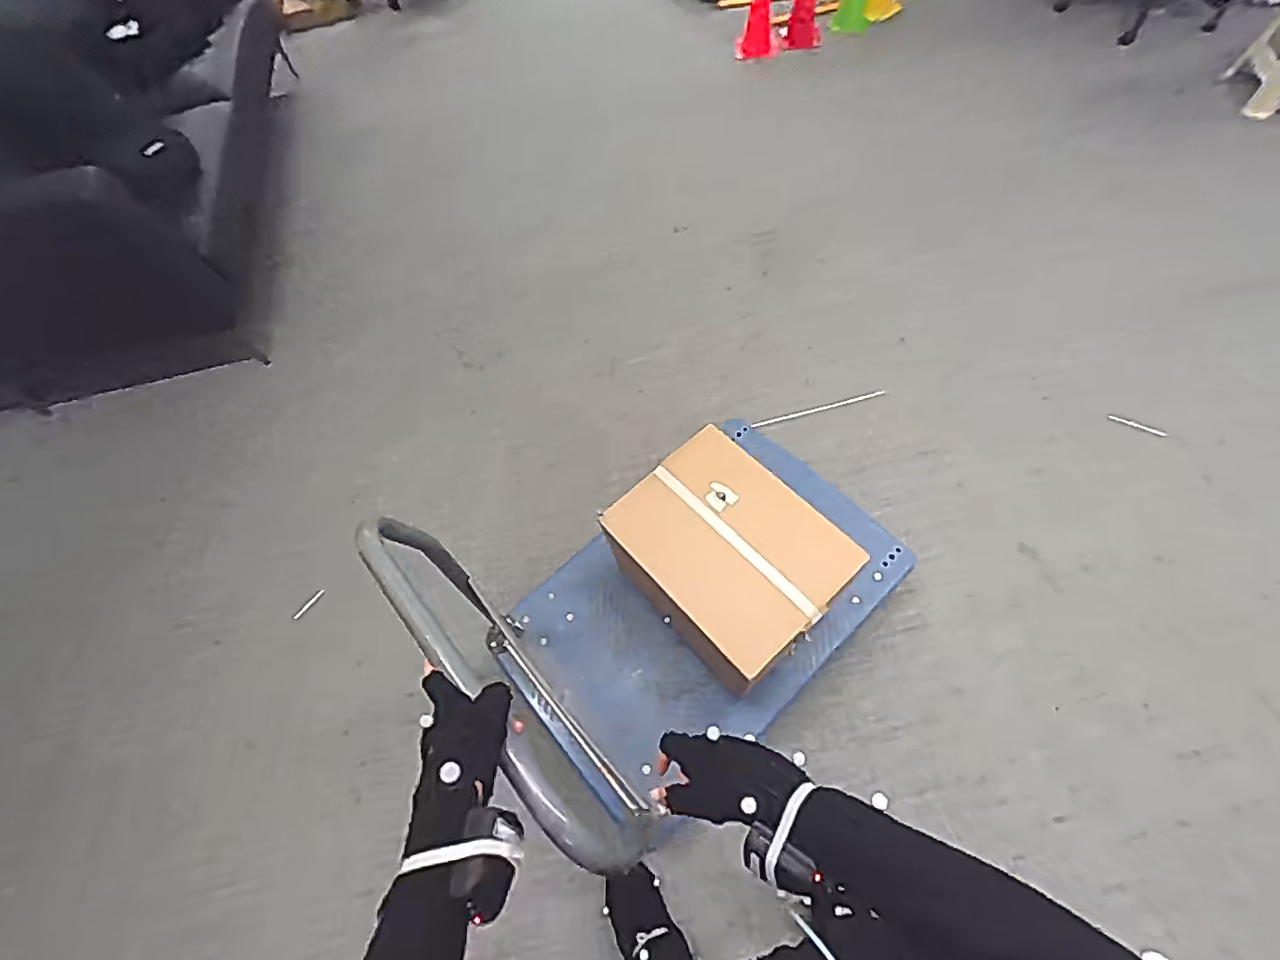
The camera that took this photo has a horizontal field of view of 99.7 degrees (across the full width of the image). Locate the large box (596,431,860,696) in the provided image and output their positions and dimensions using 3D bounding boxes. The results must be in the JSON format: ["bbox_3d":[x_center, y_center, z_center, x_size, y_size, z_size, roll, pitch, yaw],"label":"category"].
[{"bbox_3d":[0.173,0.181,1.141,0.320,0.320,0.408,-39,64,-15],"label":"large box"}]
